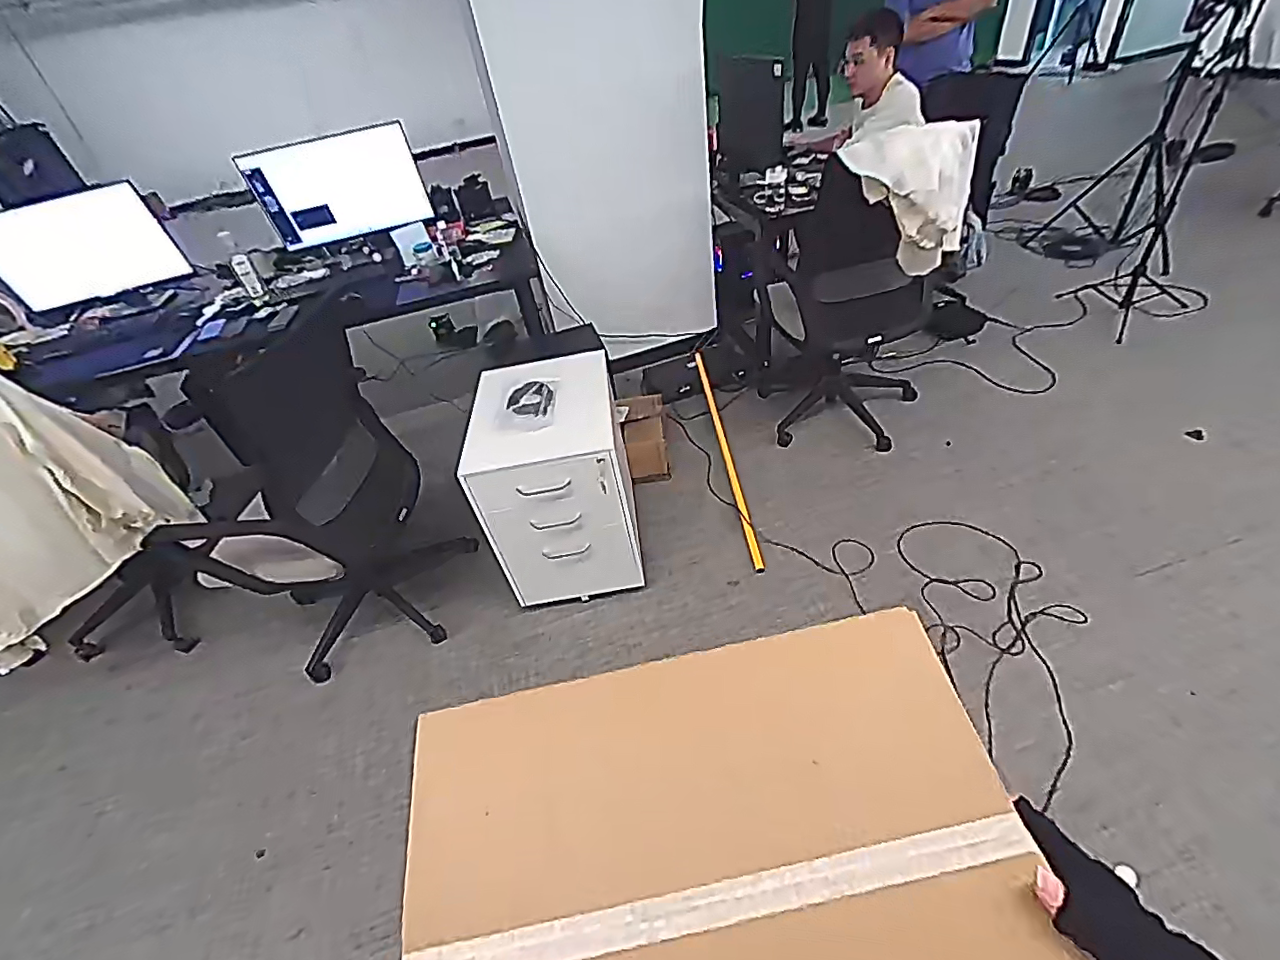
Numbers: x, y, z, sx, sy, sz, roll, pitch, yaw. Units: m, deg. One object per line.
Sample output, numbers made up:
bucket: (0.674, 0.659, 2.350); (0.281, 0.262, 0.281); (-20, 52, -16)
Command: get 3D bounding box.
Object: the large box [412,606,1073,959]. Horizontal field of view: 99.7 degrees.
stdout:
large box: (0.064, 0.351, 0.474); (0.408, 0.320, 0.320); (-12, 53, -1)
